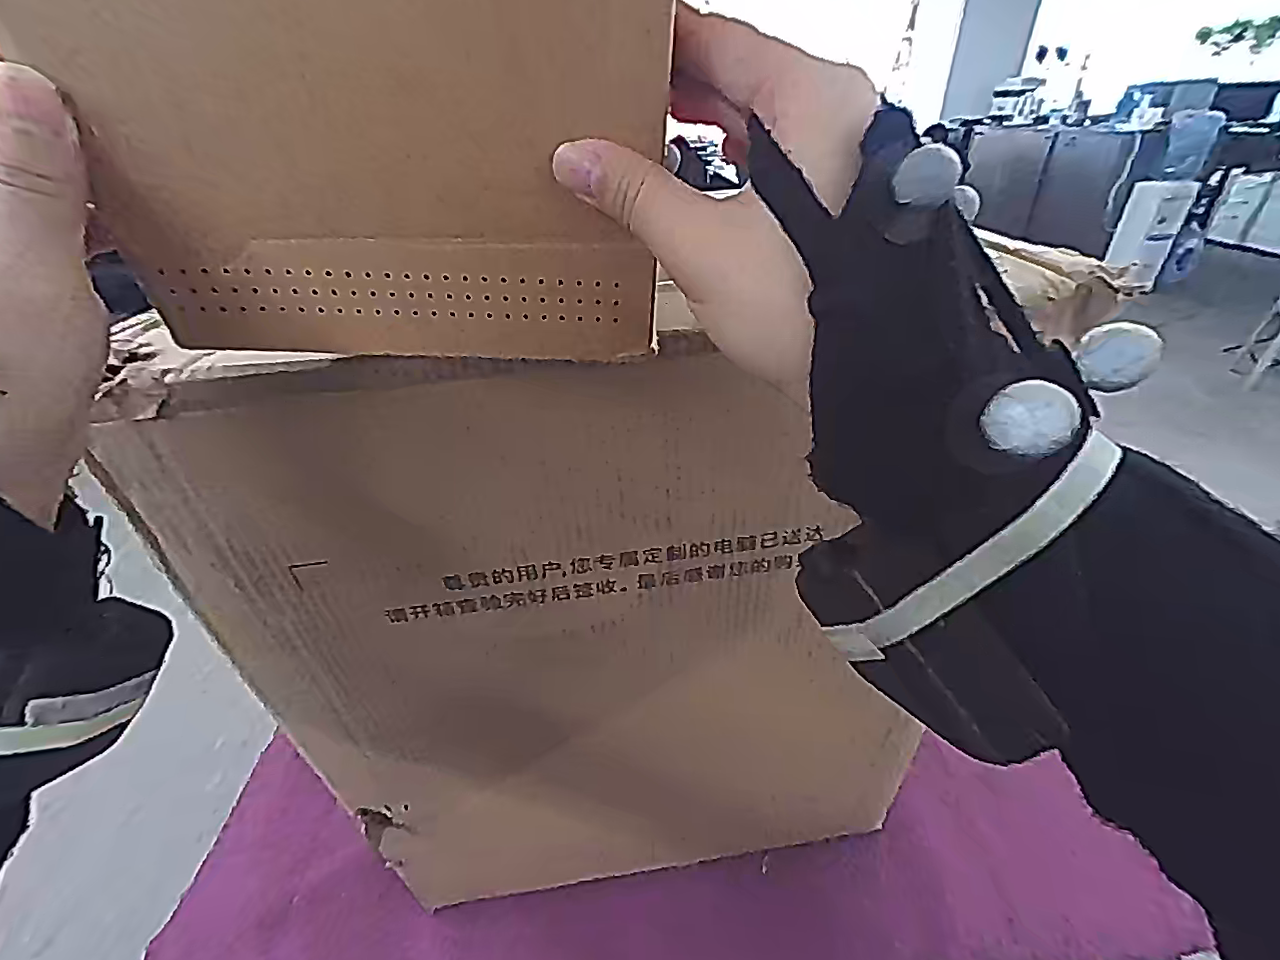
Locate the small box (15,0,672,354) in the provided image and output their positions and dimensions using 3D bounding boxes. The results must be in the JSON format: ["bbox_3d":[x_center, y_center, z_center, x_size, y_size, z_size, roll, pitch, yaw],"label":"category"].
[{"bbox_3d":[-0.081,-0.161,0.203,0.179,0.176,0.168,1,43,-5],"label":"small box"}]
